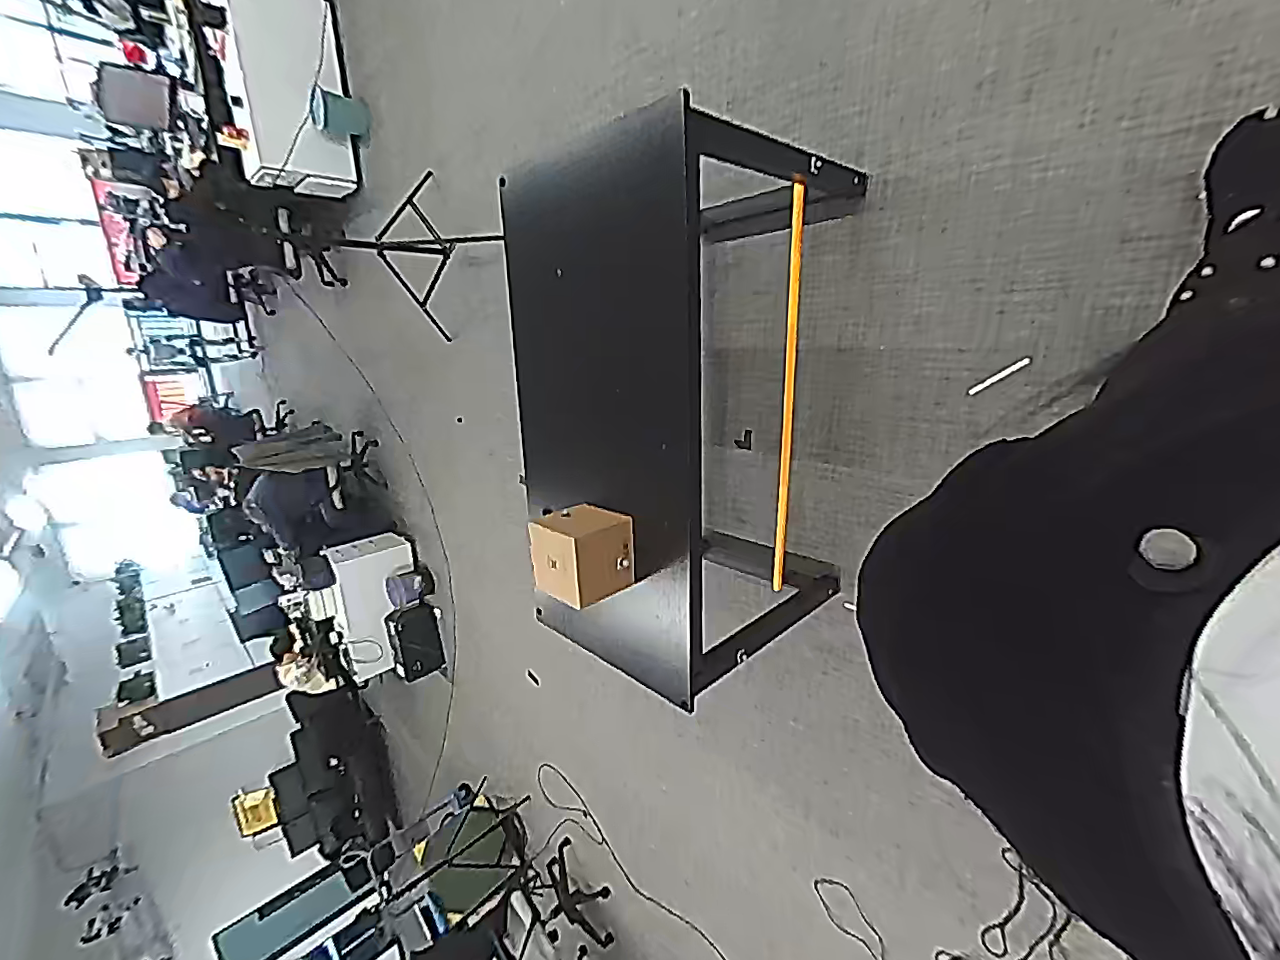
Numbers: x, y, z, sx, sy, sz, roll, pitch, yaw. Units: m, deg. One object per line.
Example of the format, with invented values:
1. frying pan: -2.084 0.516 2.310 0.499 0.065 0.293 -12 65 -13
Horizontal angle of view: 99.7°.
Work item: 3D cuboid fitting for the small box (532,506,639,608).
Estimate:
1. small box: -0.122 0.166 1.236 0.179 0.176 0.168 11 111 45
